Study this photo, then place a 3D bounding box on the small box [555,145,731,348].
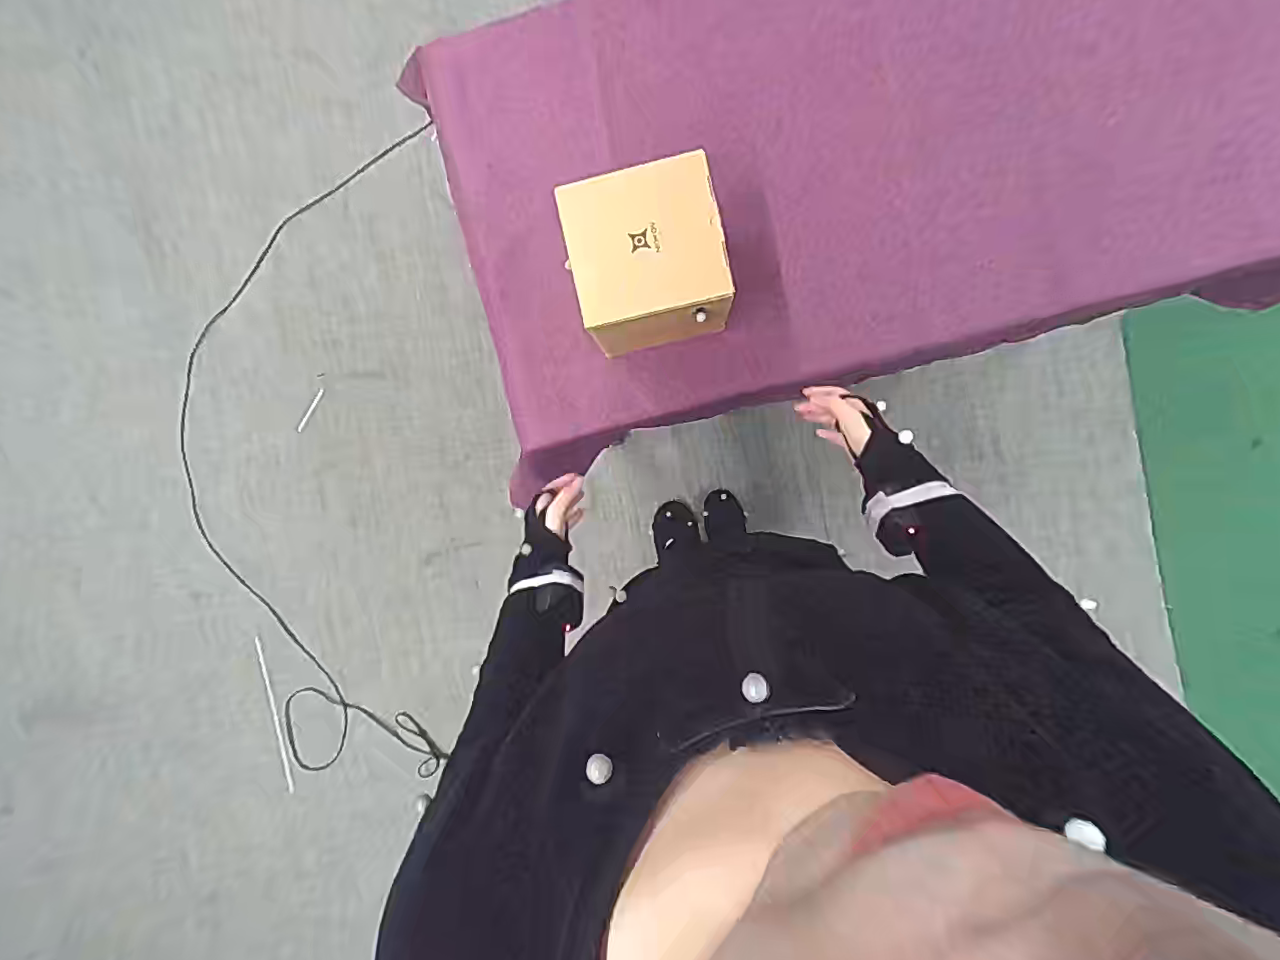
[{"bbox_3d":[0.010,-0.279,0.688,0.179,0.176,0.168,-12,91,5],"label":"small box"}]
